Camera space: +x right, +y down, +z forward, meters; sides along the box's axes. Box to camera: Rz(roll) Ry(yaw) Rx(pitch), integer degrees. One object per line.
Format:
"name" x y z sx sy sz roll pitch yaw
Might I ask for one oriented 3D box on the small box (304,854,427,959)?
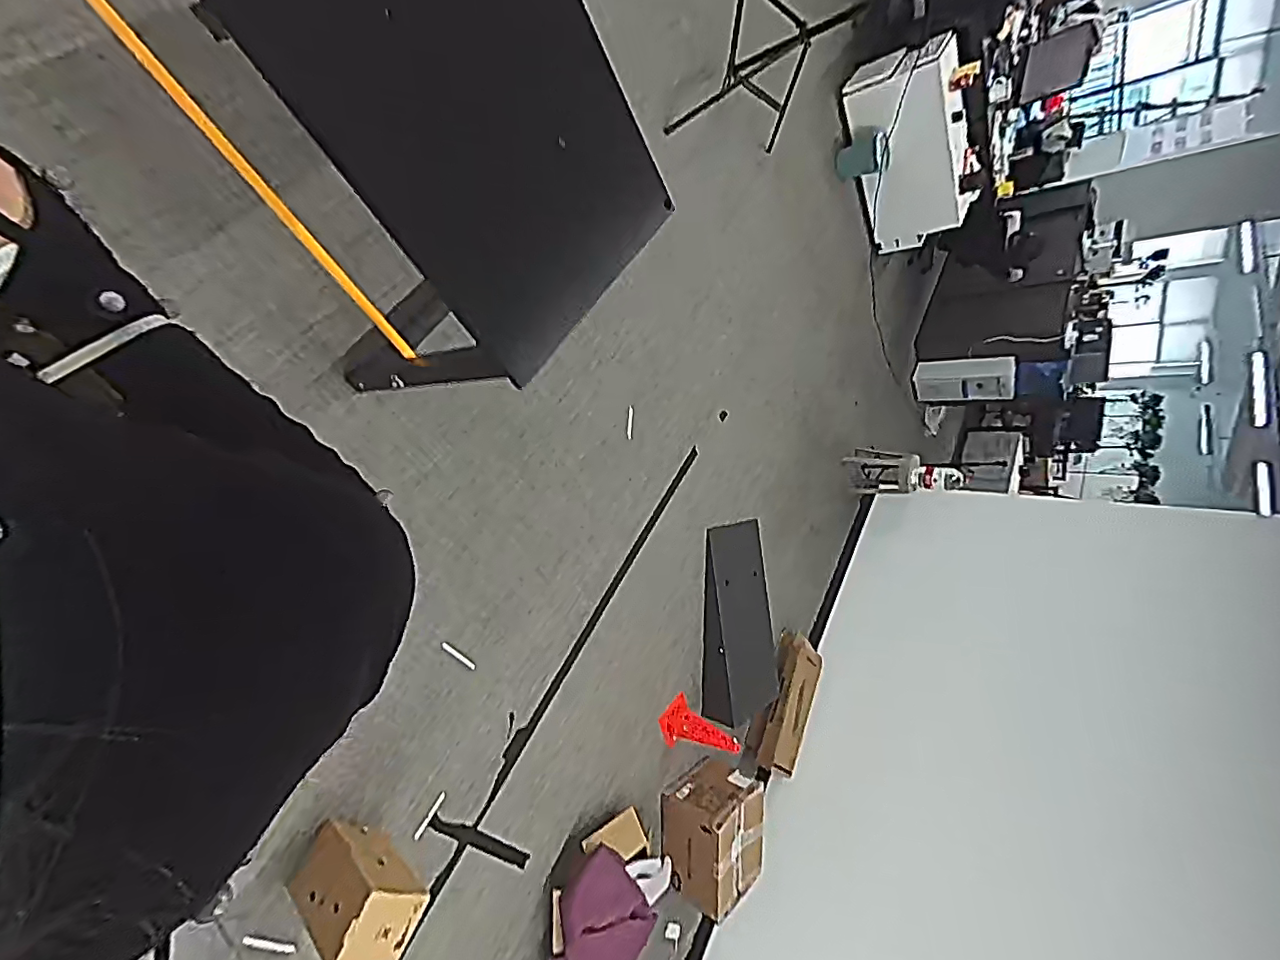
"small box" -0.663 1.036 1.301 0.179 0.176 0.168 47 61 -40

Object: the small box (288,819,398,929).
"small box" -0.781 1.031 1.413 0.168 0.176 0.179 49 59 -40
